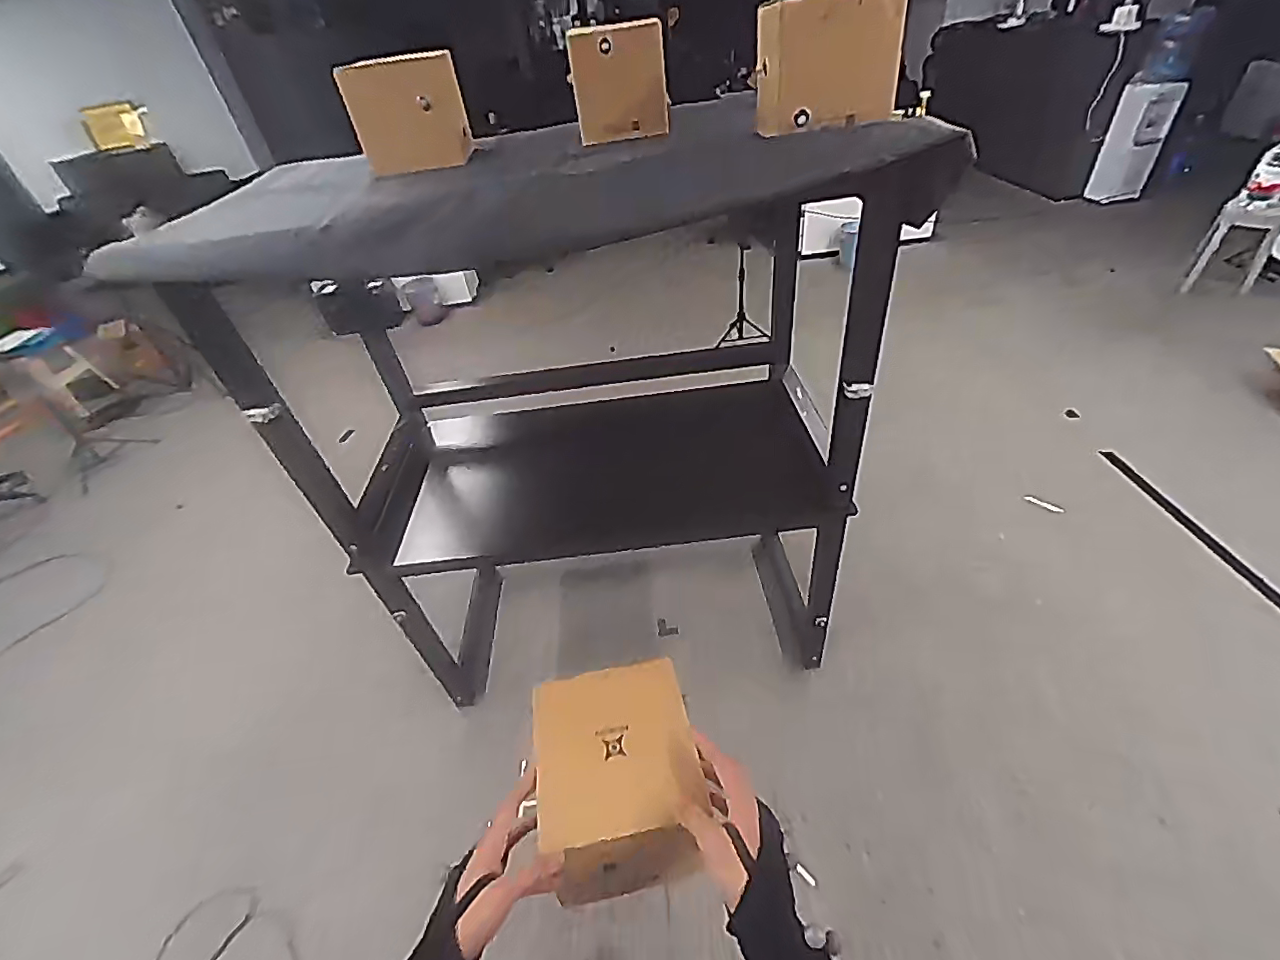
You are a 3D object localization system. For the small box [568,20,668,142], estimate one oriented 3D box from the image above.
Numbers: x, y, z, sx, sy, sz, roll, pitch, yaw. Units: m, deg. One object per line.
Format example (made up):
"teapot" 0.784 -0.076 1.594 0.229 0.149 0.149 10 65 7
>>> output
"small box" -0.039 -0.764 1.040 0.168 0.176 0.179 -8 40 1

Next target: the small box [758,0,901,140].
"small box" 0.274 -0.623 0.814 0.168 0.176 0.179 -6 37 4

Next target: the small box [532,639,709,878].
"small box" -0.024 0.313 0.607 0.168 0.176 0.179 -9 37 -7
